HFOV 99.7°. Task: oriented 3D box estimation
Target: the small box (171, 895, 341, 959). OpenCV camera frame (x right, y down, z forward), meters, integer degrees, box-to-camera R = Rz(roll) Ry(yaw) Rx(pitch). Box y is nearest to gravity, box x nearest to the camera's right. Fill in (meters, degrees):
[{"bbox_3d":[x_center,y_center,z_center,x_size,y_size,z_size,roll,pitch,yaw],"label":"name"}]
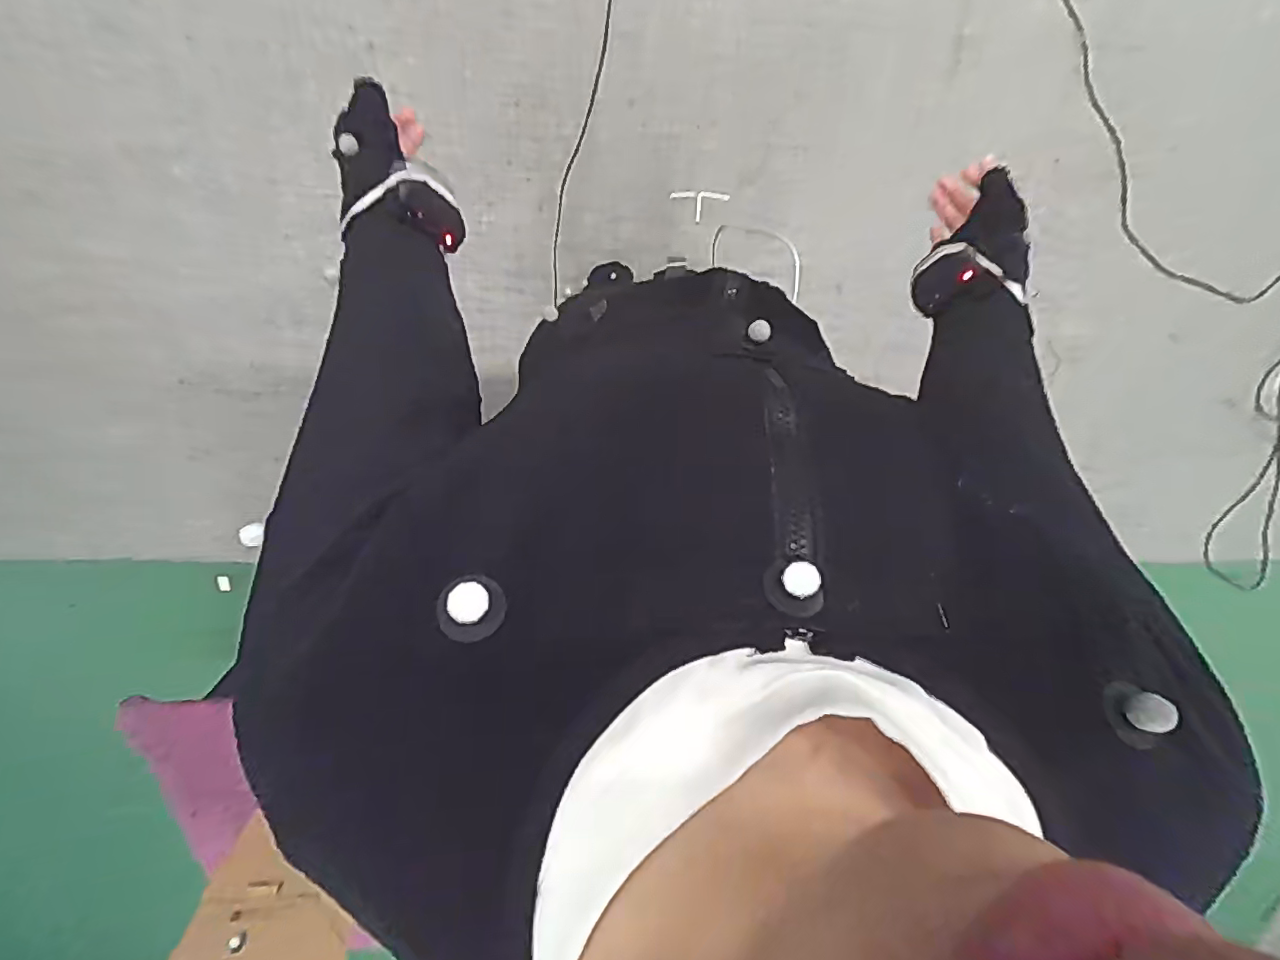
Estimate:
[{"bbox_3d":[-0.539,0.713,0.740,0.168,0.176,0.179,-2,113,-4],"label":"small box"}]
